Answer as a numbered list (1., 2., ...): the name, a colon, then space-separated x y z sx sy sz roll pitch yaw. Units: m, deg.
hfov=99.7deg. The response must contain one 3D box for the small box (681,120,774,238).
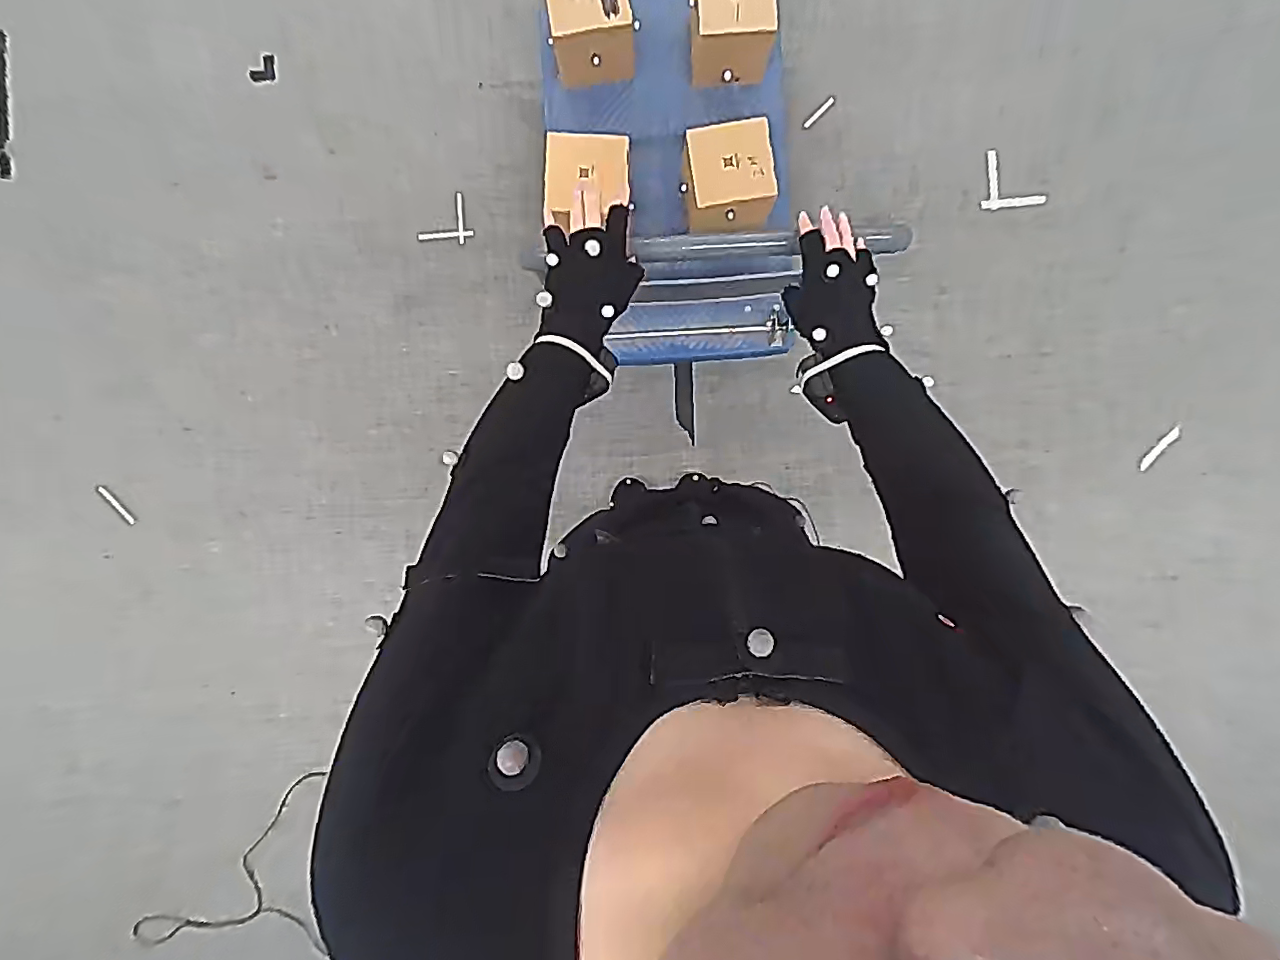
1. small box: 0.190 -0.669 1.223 0.179 0.176 0.168 -9 91 1

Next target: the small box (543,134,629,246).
1. small box: -0.117 -0.649 1.227 0.179 0.176 0.168 2 91 -1

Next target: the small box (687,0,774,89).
1. small box: 0.197 -1.025 1.214 0.168 0.176 0.179 -3 92 1
